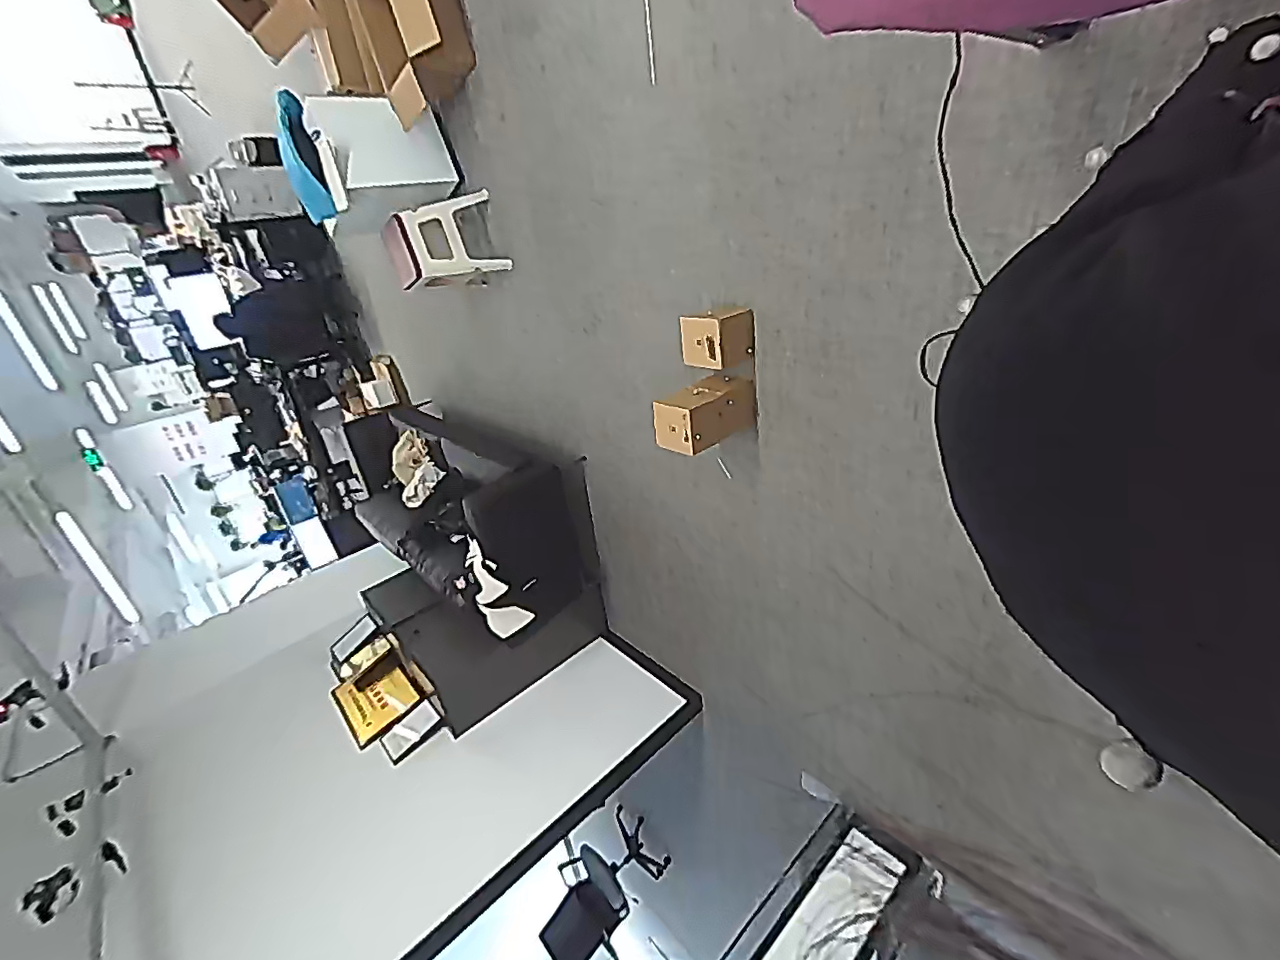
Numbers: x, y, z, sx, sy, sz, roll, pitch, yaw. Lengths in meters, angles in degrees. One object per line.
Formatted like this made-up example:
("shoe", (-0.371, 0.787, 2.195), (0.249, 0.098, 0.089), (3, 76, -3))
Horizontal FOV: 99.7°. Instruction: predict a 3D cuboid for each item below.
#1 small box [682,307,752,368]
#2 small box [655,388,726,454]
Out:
("small box", (0.267, -0.487, 1.830), (0.179, 0.176, 0.168), (22, 128, 45))
("small box", (0.174, -0.209, 1.850), (0.179, 0.176, 0.168), (23, 129, 45))
